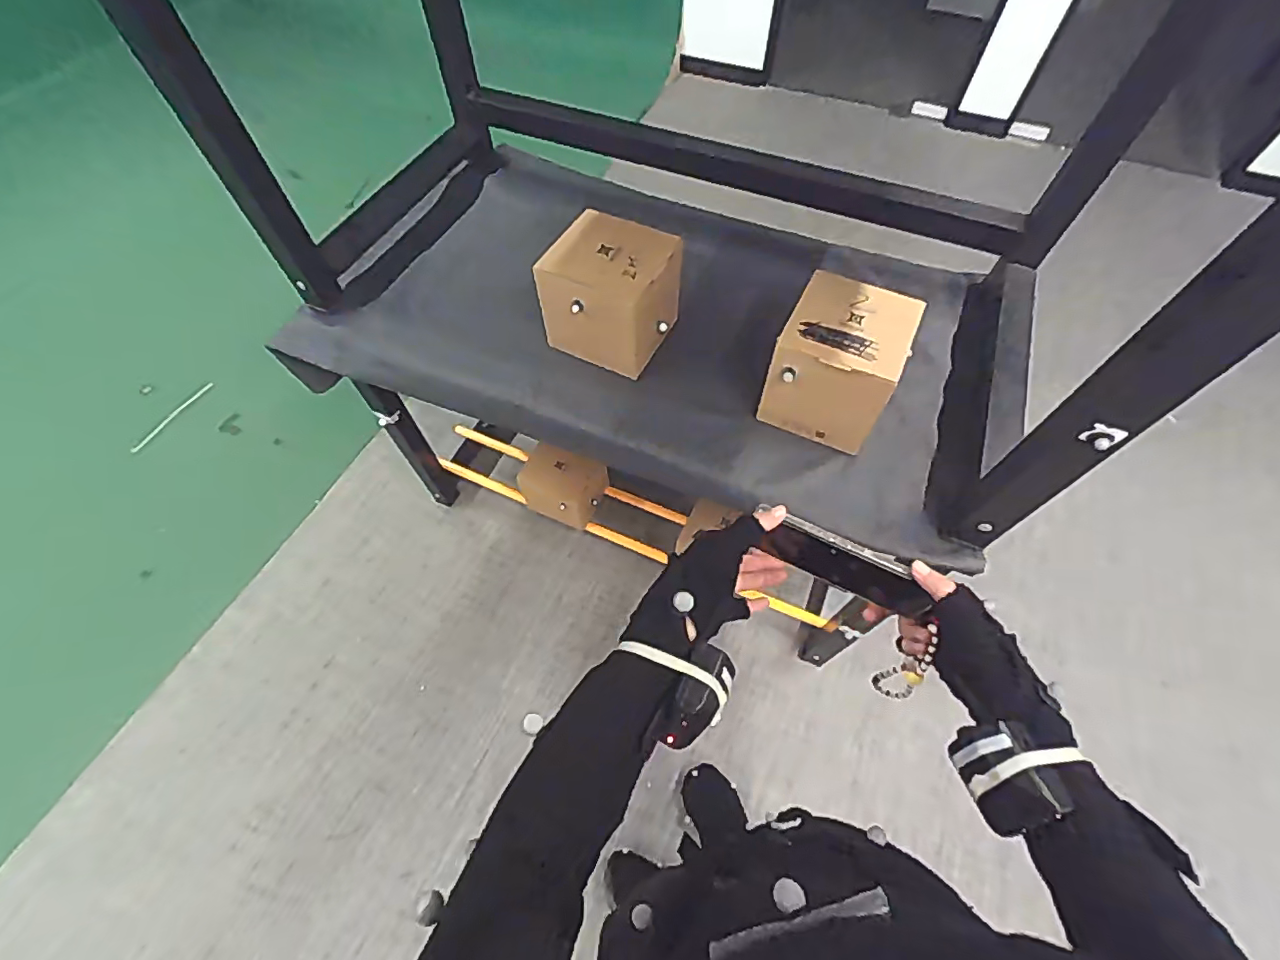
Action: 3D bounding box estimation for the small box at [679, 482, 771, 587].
[{"bbox_3d":[0.206,0.142,1.344,0.168,0.176,0.179,24,63,14],"label":"small box"}]

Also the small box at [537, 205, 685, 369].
[{"bbox_3d":[-0.041,-0.311,0.889,0.179,0.176,0.168,24,63,14],"label":"small box"}]
